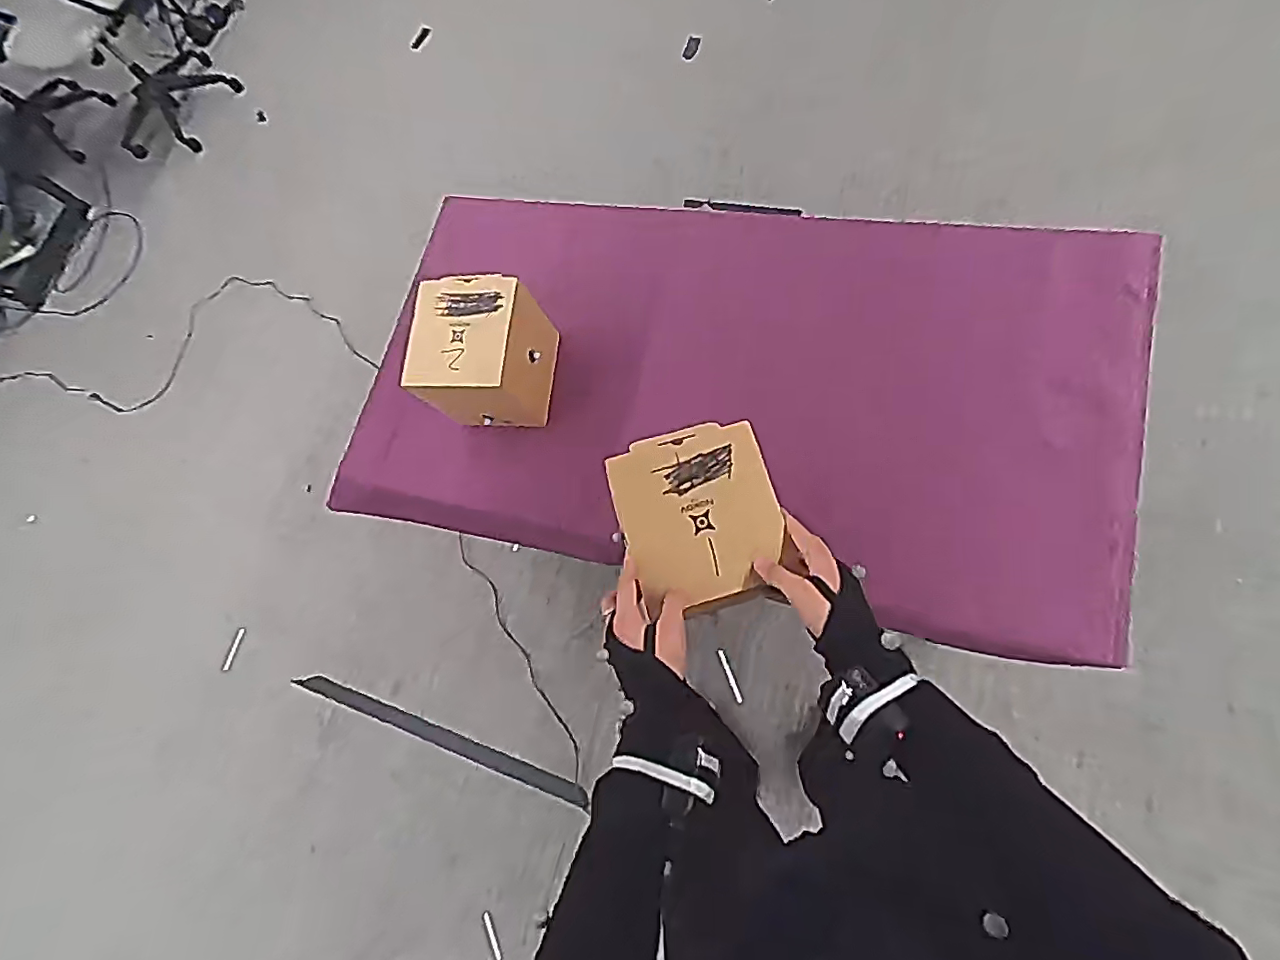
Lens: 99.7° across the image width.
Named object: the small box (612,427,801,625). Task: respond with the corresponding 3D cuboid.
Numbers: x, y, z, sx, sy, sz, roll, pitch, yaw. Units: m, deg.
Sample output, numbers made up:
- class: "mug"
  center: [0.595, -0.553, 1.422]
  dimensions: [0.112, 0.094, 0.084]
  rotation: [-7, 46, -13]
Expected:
- class: "small box"
  center: [0.067, 0.064, 0.651]
  dimensions: [0.168, 0.176, 0.179]
  rotation: [-15, 71, -4]
